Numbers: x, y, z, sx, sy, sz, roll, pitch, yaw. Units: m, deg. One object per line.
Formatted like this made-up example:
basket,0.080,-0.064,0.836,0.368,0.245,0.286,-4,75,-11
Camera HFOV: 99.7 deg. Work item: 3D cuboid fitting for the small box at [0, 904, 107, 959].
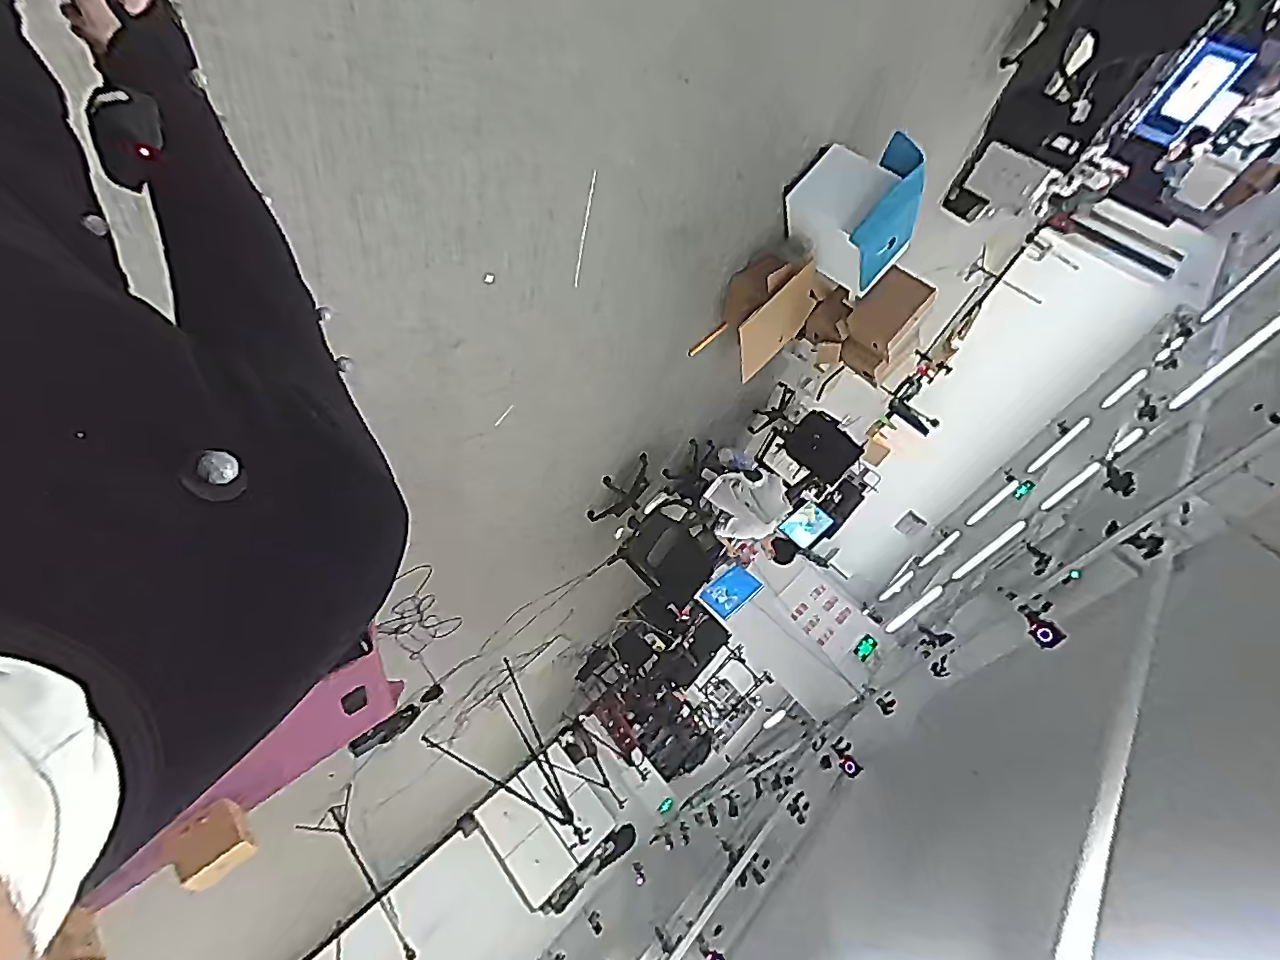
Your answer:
small box,-1.597,1.287,1.452,0.168,0.176,0.179,-30,155,-38

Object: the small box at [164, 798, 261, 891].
small box,-1.326,1.129,1.682,0.168,0.176,0.179,-31,154,-36
